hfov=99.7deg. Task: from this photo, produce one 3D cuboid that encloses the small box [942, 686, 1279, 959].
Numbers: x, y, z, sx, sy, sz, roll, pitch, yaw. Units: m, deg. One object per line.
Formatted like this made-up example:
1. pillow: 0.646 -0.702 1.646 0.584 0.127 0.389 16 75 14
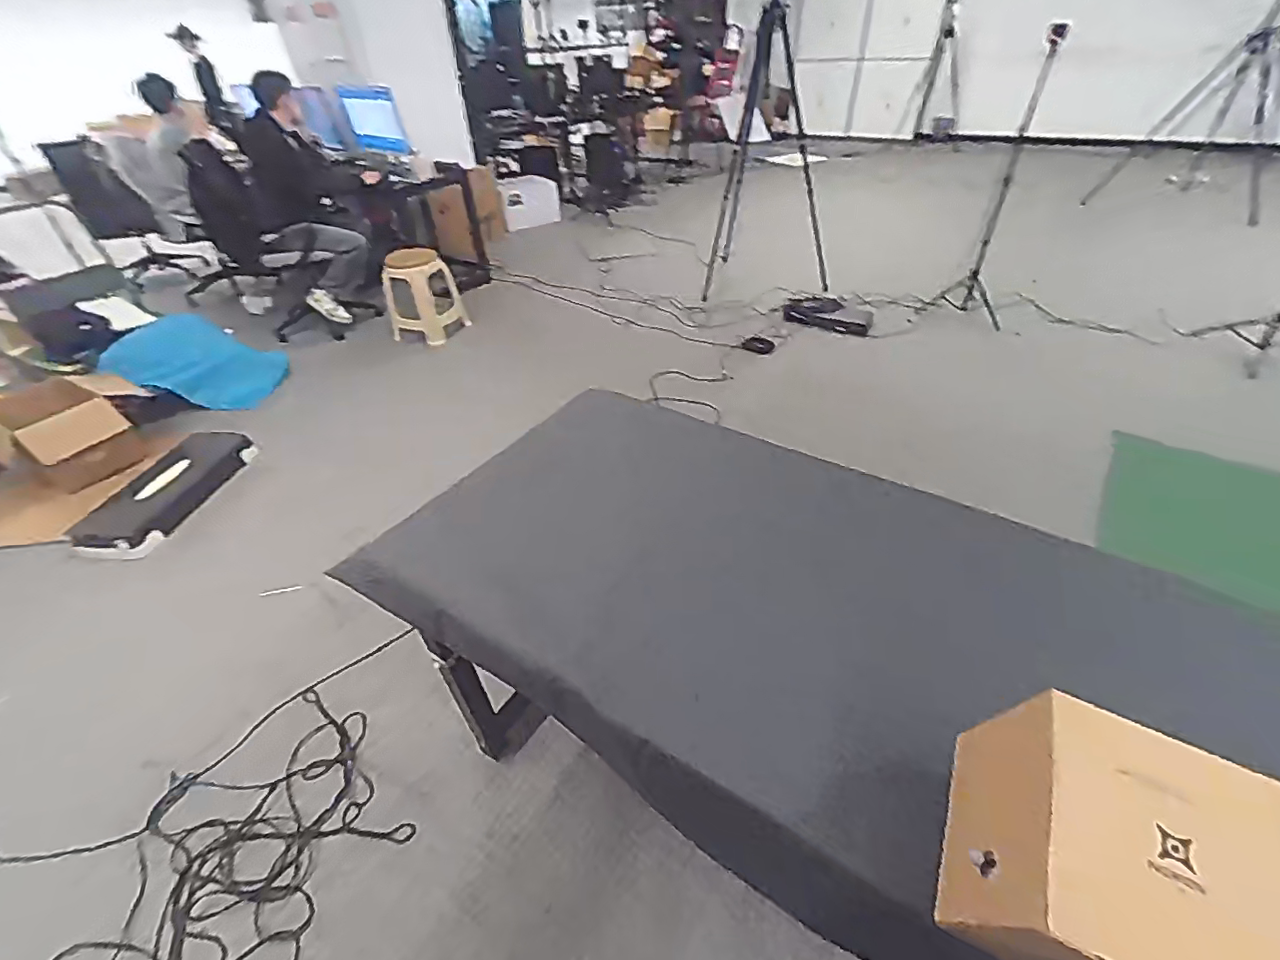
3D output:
1. small box: 0.366 0.303 0.429 0.168 0.176 0.179 21 55 14
